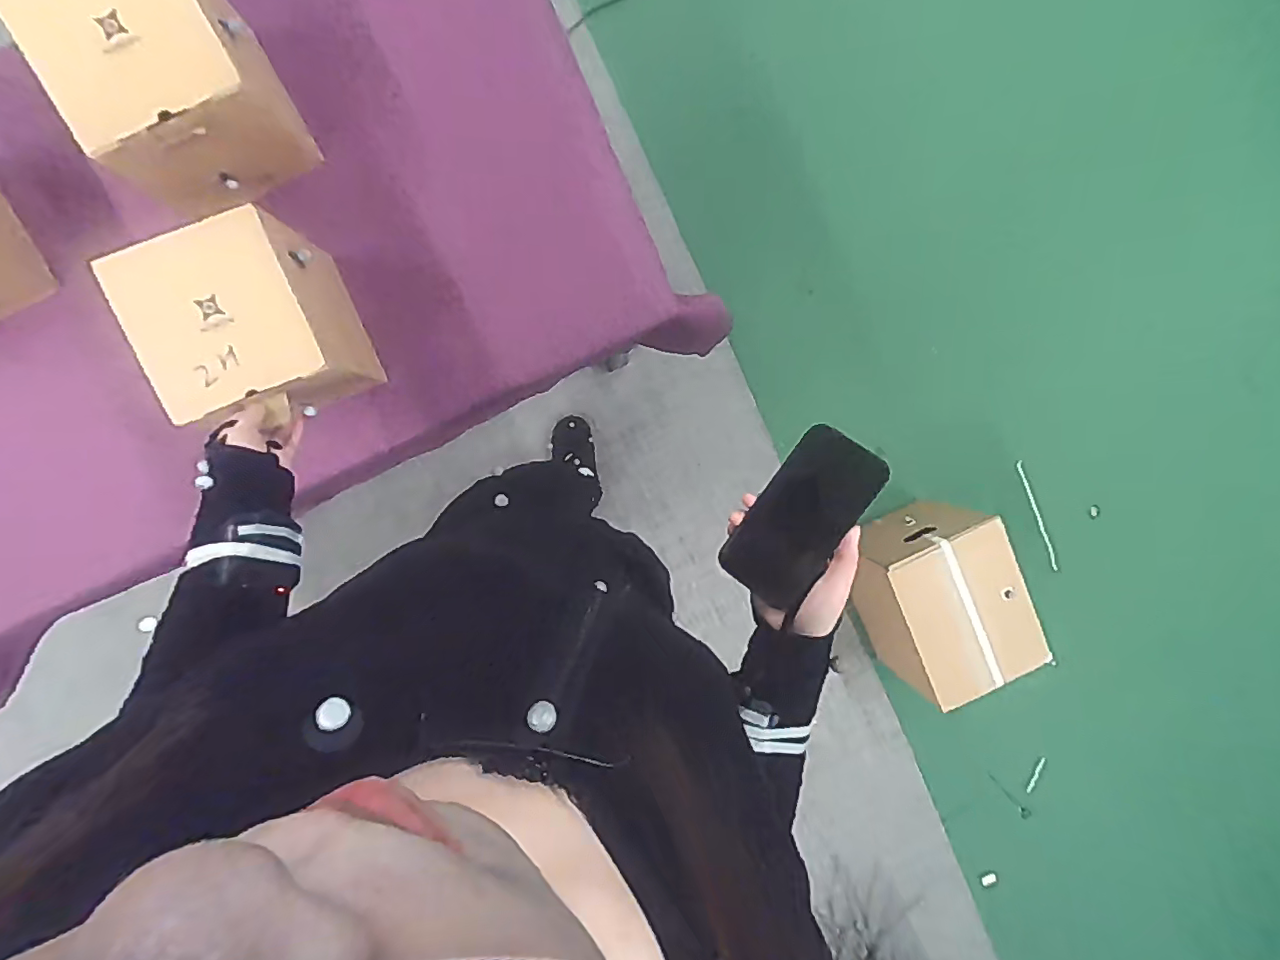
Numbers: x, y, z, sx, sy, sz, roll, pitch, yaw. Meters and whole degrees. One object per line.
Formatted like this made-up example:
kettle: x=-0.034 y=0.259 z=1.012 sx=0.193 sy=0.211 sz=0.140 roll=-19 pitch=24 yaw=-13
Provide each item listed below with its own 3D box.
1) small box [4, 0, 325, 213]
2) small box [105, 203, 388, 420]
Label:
small box: x=-0.493 y=-0.432 z=0.589 sx=0.168 sy=0.176 sz=0.179 roll=-28 pitch=99 yaw=-2
small box: x=-0.426 y=-0.176 z=0.621 sx=0.168 sy=0.176 sz=0.179 roll=-22 pitch=98 yaw=-2
